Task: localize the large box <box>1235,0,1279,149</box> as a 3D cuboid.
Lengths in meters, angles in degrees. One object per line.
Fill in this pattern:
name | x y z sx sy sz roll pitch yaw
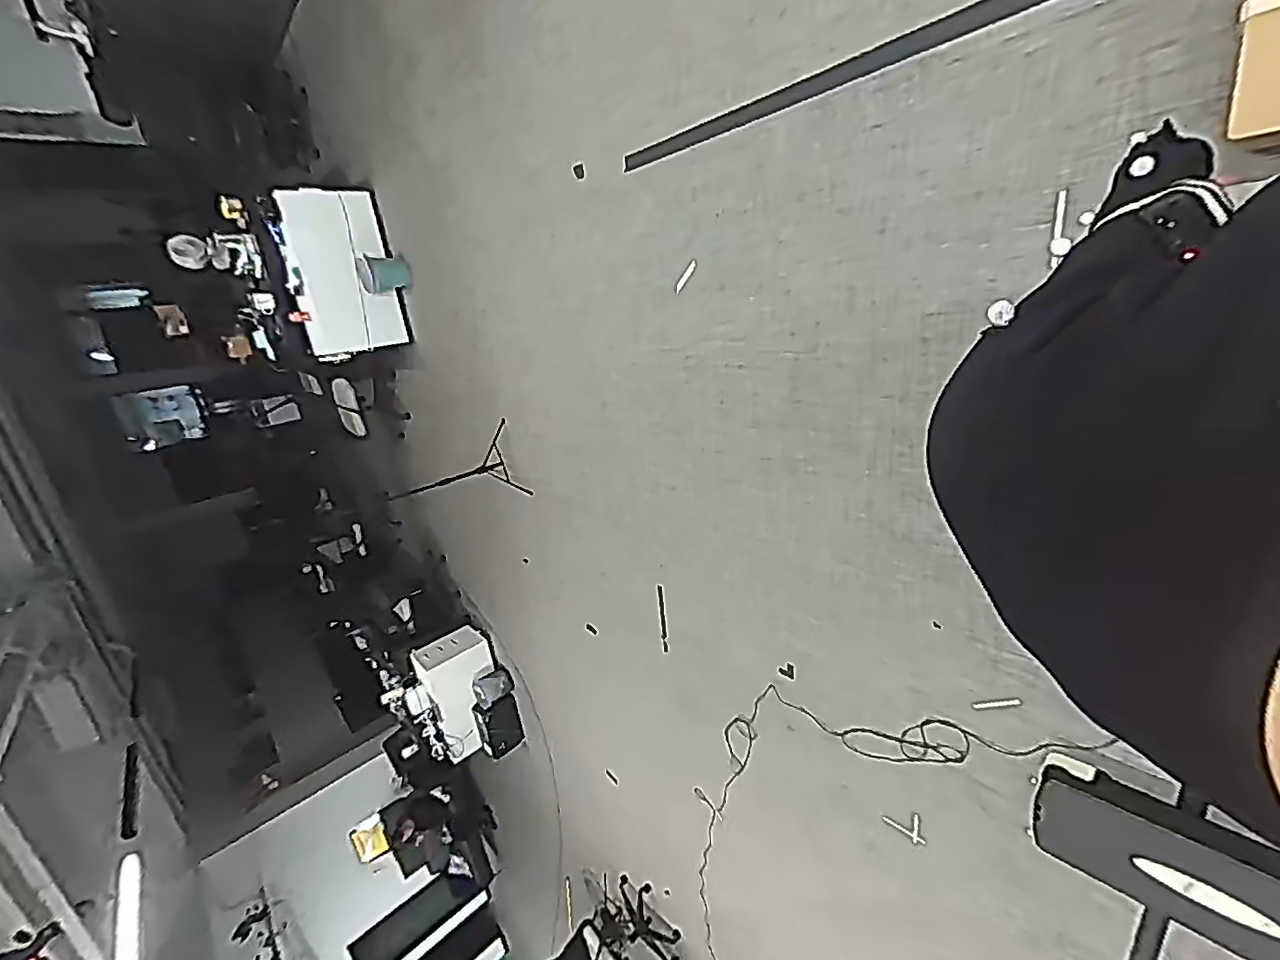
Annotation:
large box | 1.037 -0.643 0.653 0.408 0.320 0.320 11 117 46
